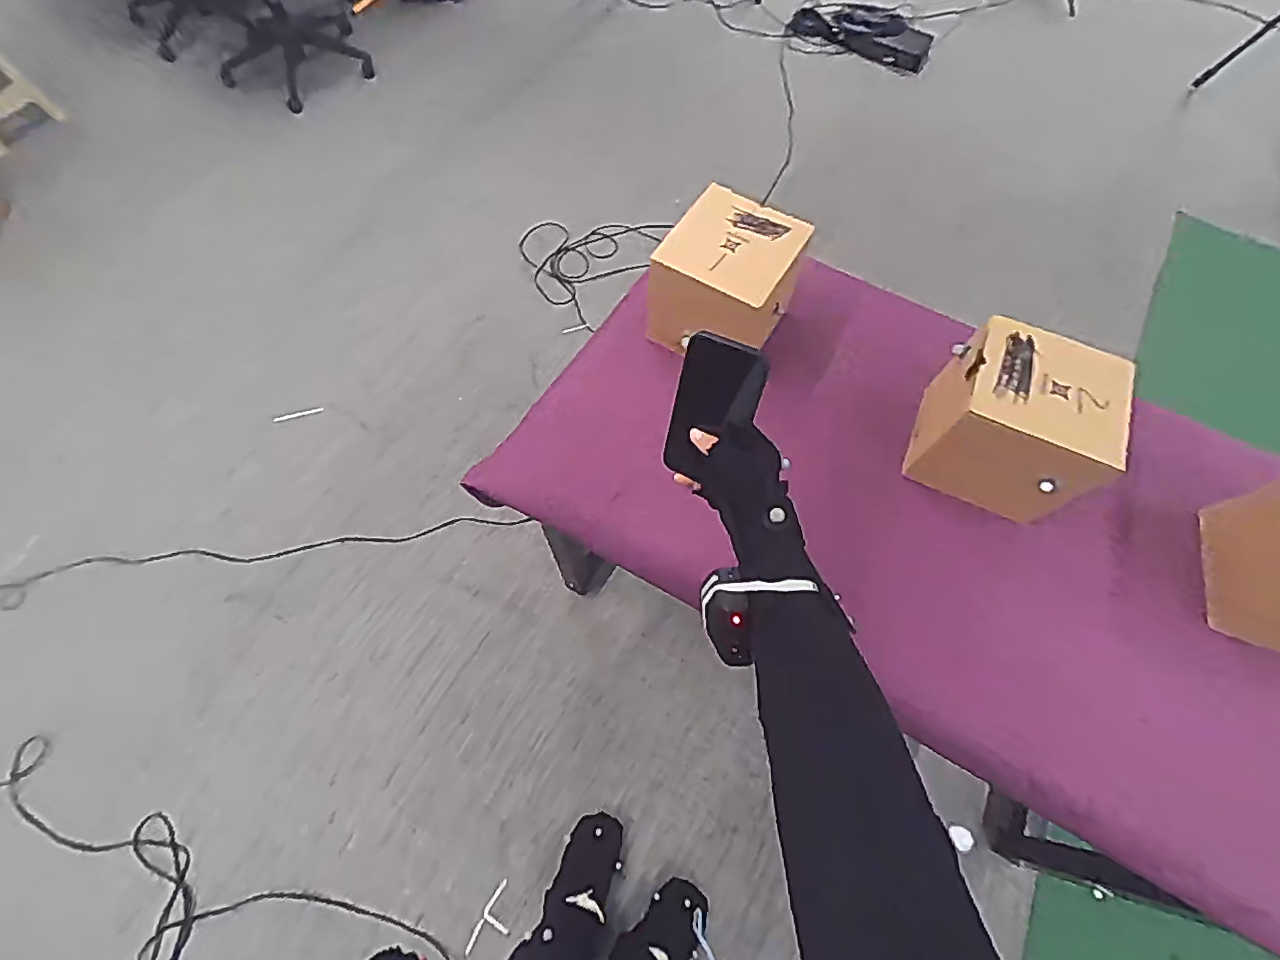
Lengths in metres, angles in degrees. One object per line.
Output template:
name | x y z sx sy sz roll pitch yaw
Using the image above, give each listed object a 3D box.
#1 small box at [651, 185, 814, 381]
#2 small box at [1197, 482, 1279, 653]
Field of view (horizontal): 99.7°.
small box | 0.124 -0.284 0.798 0.168 0.176 0.179 31 69 12
small box | 0.815 0.113 0.630 0.168 0.176 0.179 19 65 8
